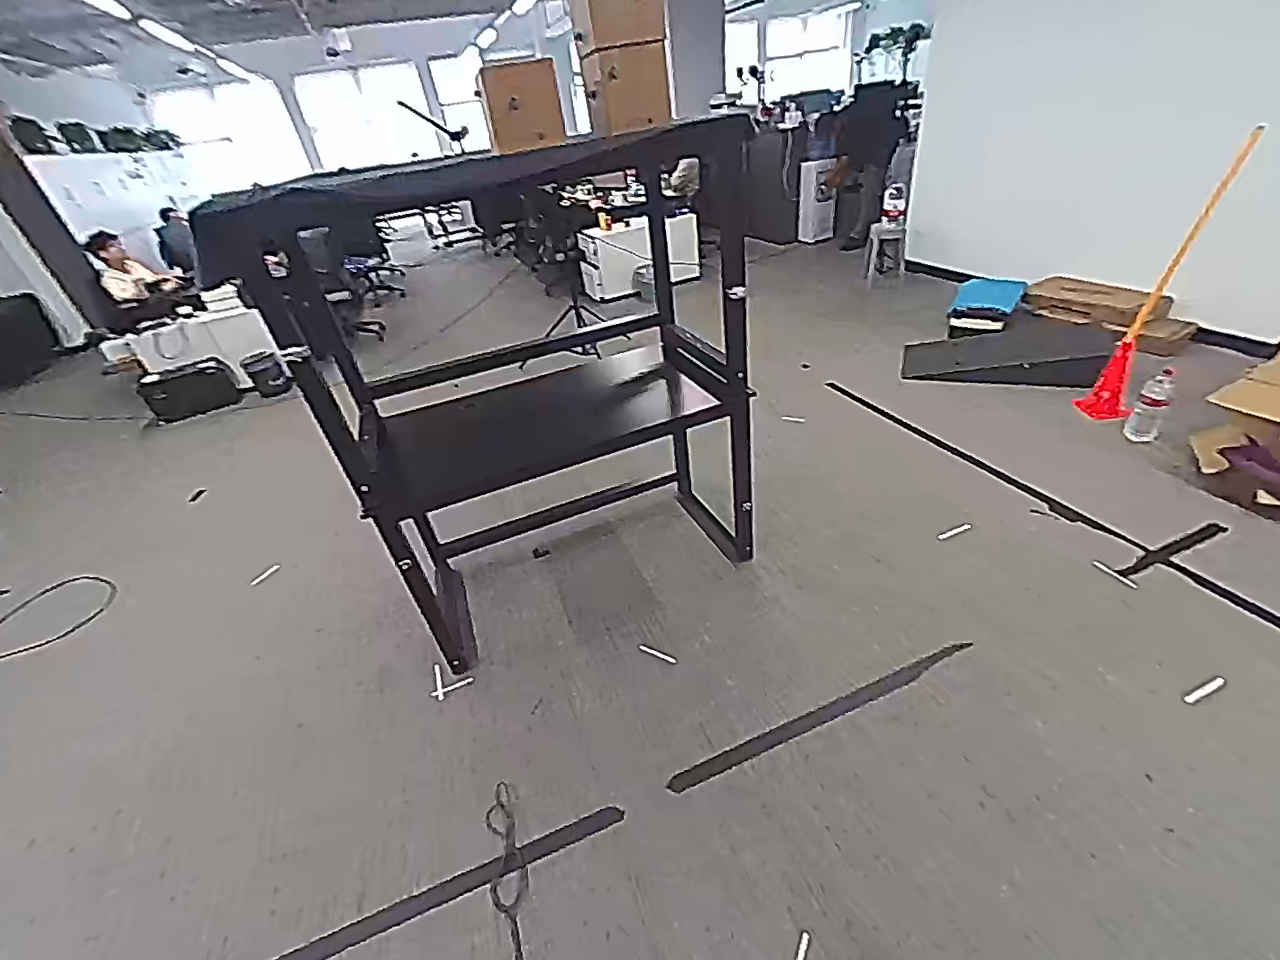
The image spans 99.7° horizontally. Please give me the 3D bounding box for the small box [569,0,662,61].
[{"bbox_3d":[-0.058,-1.071,1.223,0.179,0.176,0.168,-19,33,-12],"label":"small box"}]

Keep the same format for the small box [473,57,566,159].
[{"bbox_3d":[-0.282,-0.867,1.272,0.168,0.176,0.179,-17,34,-11],"label":"small box"}]
